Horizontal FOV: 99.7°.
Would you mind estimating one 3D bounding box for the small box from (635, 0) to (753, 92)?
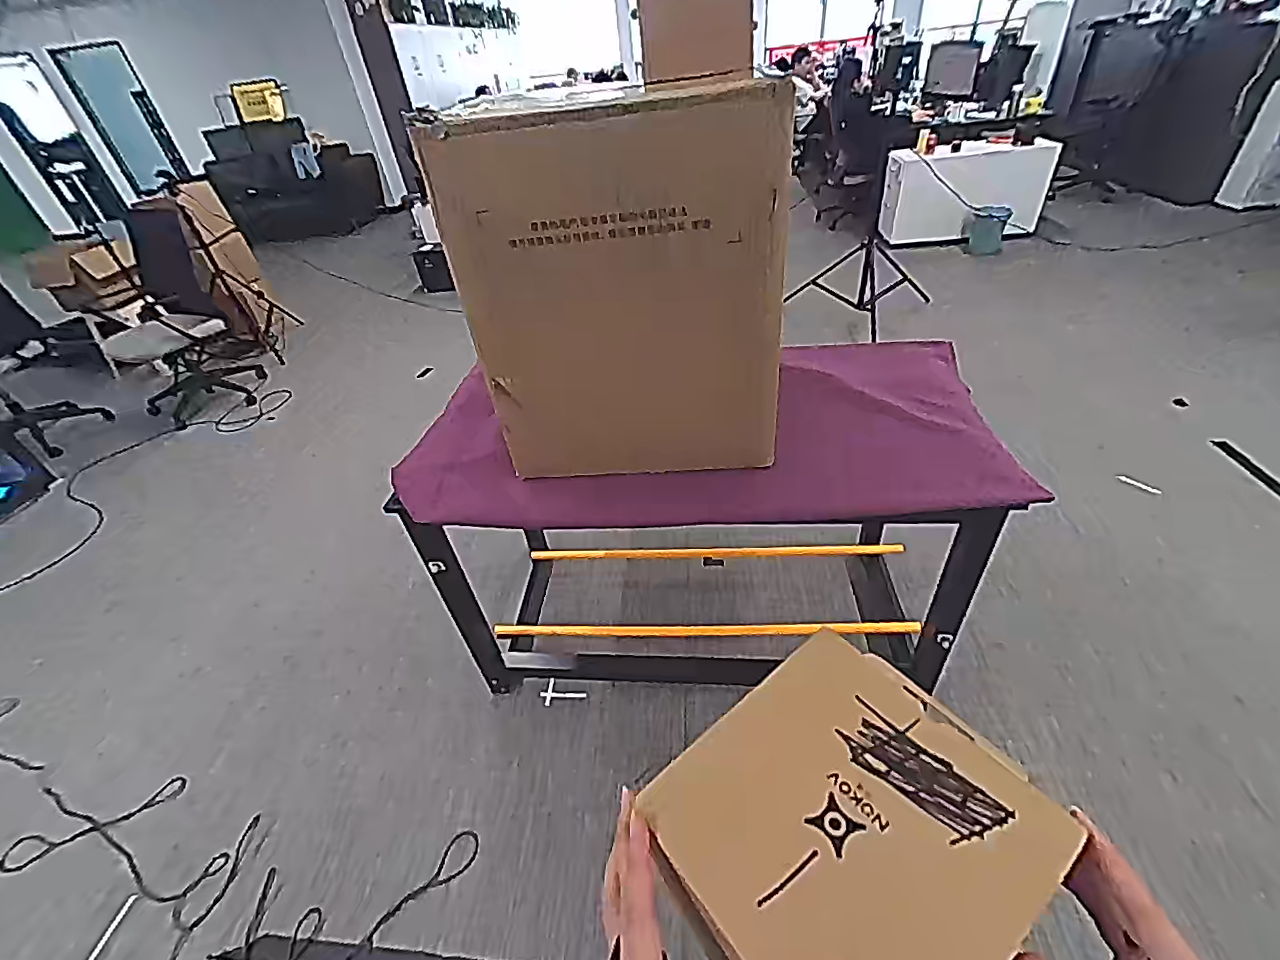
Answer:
[{"bbox_3d":[0.086,-0.731,0.859,0.179,0.176,0.168,-3,38,7],"label":"small box"}]
